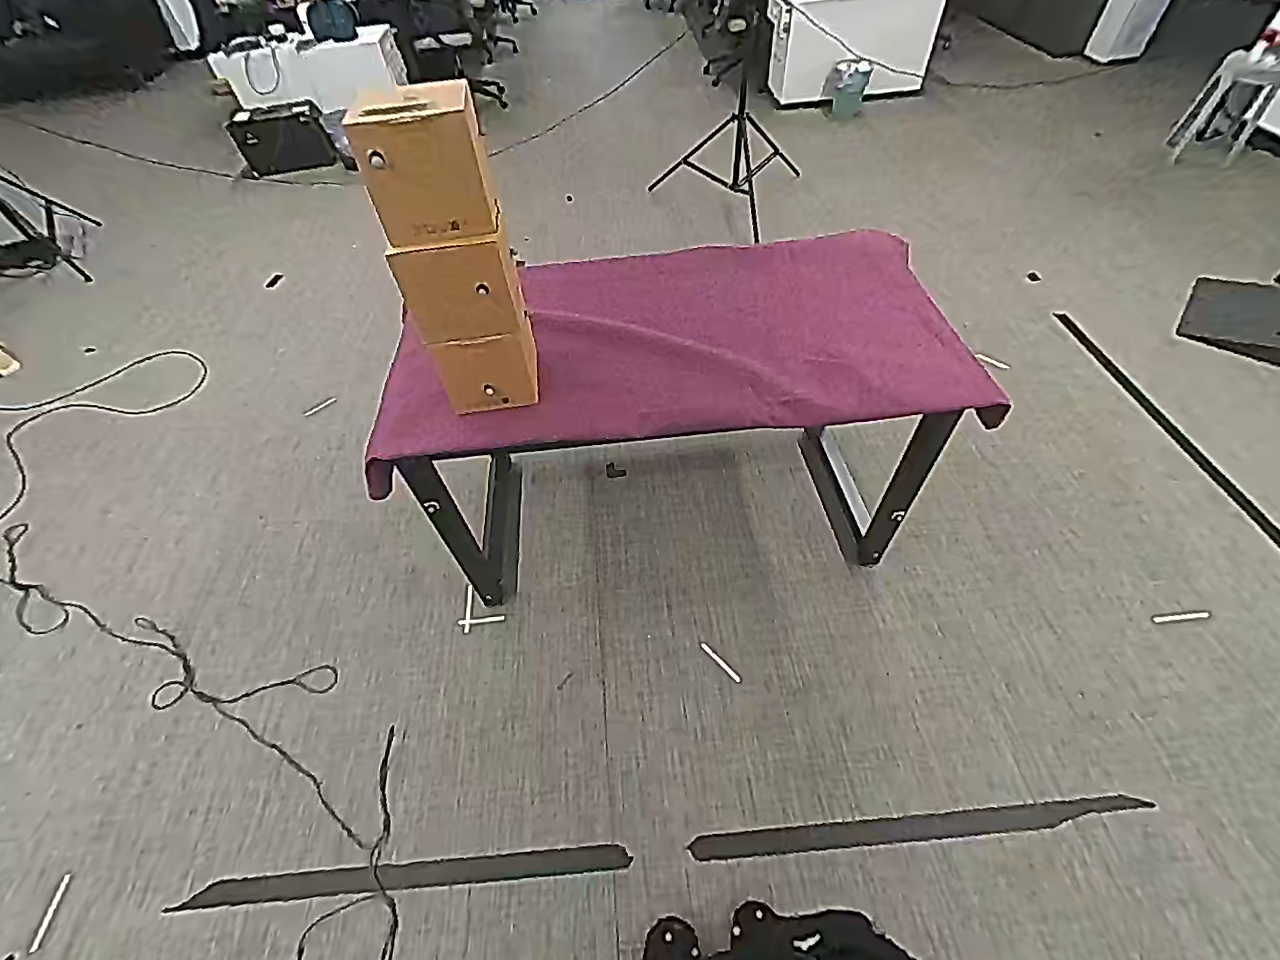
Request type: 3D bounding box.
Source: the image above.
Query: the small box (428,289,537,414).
[{"bbox_3d":[-0.304,-0.256,1.077,0.168,0.176,0.179,-8,51,-2],"label":"small box"}]

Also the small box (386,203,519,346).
[{"bbox_3d":[-0.315,-0.359,0.952,0.179,0.176,0.168,-10,49,-3],"label":"small box"}]
